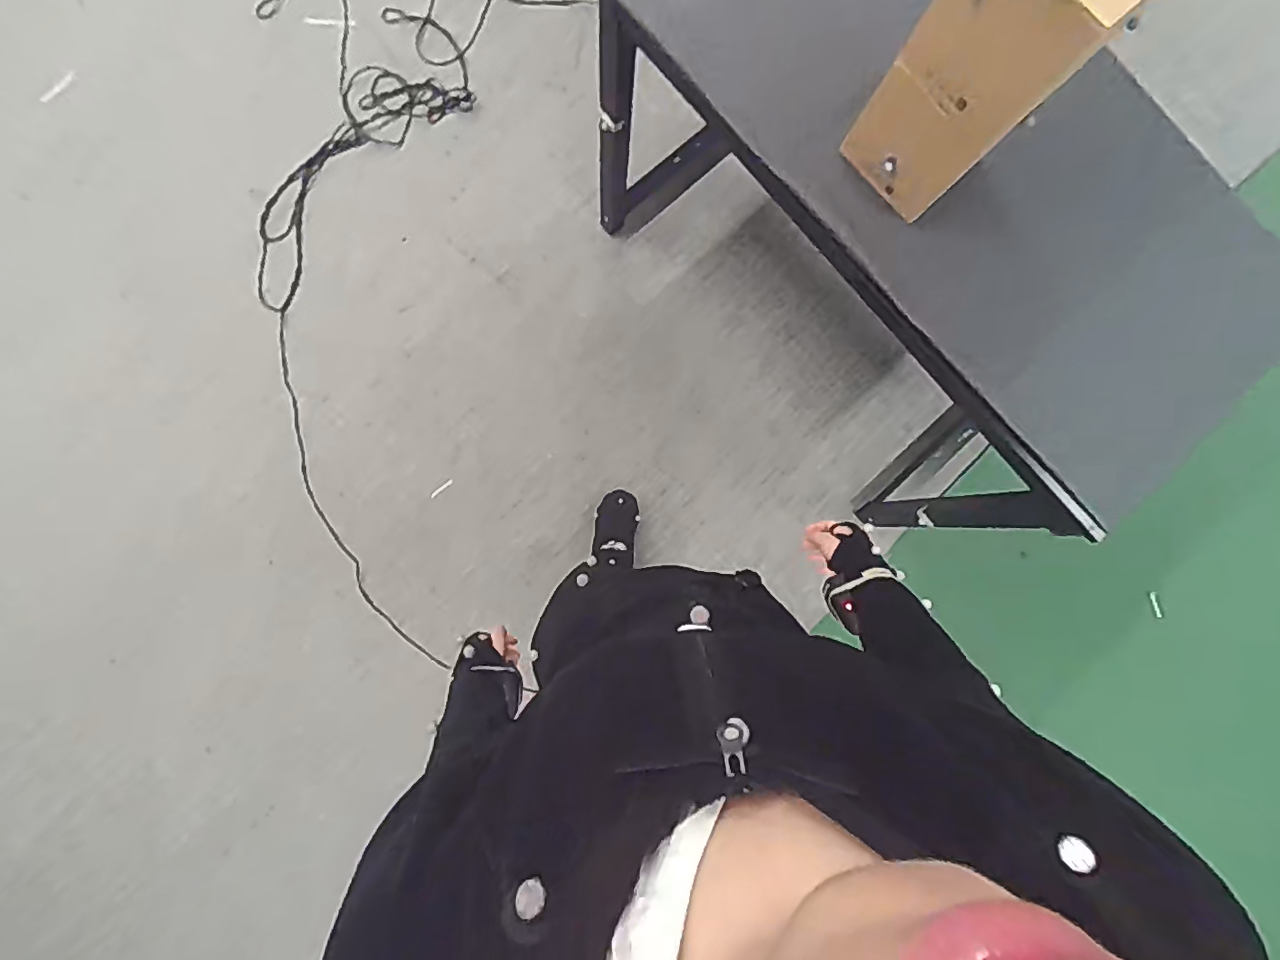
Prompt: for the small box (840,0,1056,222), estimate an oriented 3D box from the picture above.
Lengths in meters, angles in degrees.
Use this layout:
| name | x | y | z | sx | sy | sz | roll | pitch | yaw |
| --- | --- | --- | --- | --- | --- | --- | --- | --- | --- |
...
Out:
| name | x | y | z | sx | sy | sz | roll | pitch | yaw |
| --- | --- | --- | --- | --- | --- | --- | --- | --- | --- |
| small box | 0.430 | -0.525 | 0.786 | 0.179 | 0.176 | 0.168 | -44 | 89 | -7 |
